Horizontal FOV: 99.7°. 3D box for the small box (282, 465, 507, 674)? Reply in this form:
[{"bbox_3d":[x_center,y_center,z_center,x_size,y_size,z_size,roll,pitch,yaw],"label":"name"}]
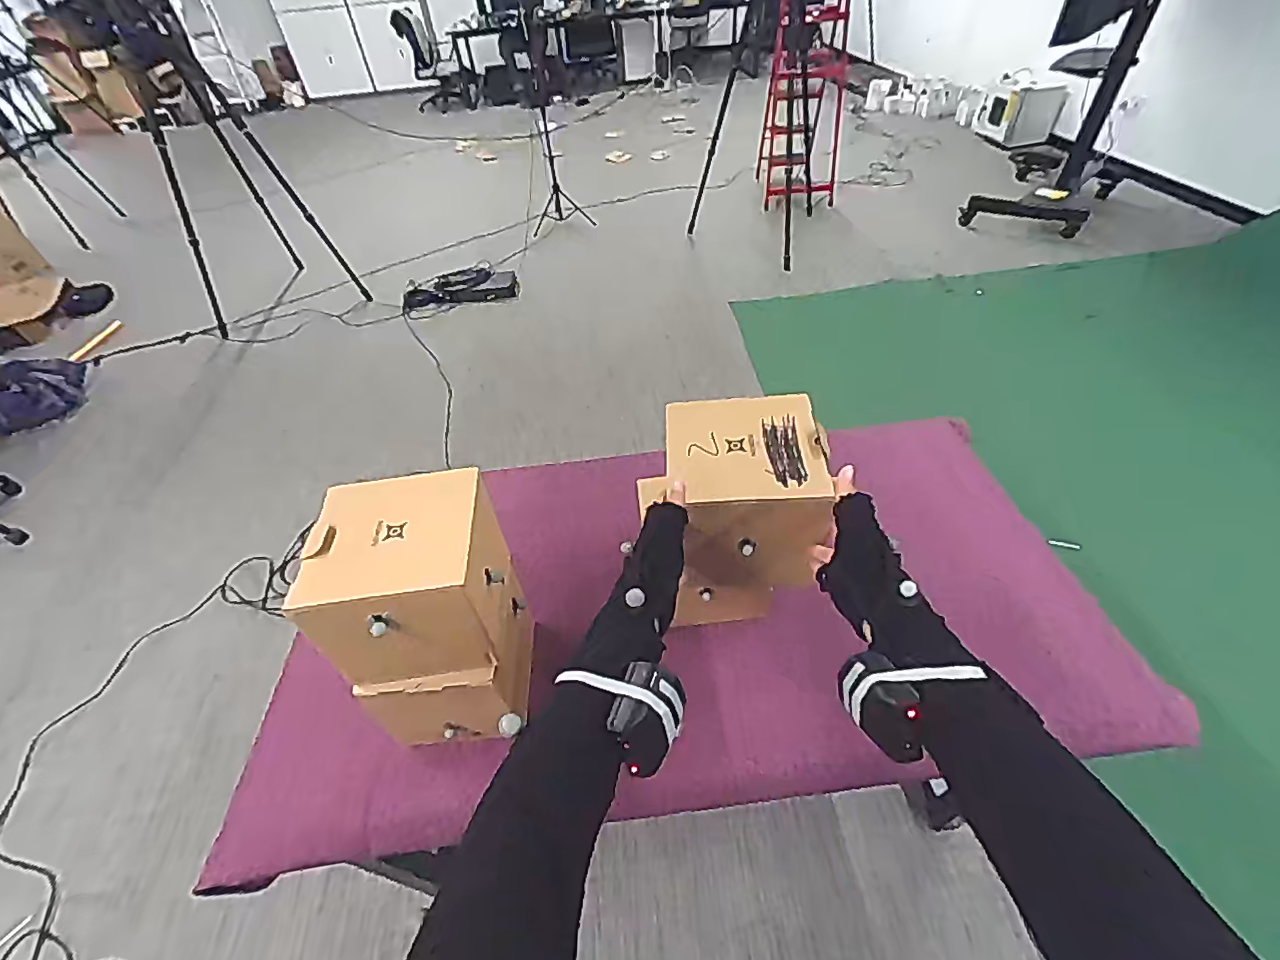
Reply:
[{"bbox_3d":[-0.259,0.106,0.628,0.179,0.176,0.168,-7,46,-2],"label":"small box"}]

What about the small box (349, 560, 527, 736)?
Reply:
[{"bbox_3d":[-0.256,0.227,0.738,0.168,0.176,0.179,-4,47,0],"label":"small box"}]

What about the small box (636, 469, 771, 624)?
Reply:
[{"bbox_3d":[0.088,0.105,0.831,0.179,0.176,0.168,-6,46,0],"label":"small box"}]
